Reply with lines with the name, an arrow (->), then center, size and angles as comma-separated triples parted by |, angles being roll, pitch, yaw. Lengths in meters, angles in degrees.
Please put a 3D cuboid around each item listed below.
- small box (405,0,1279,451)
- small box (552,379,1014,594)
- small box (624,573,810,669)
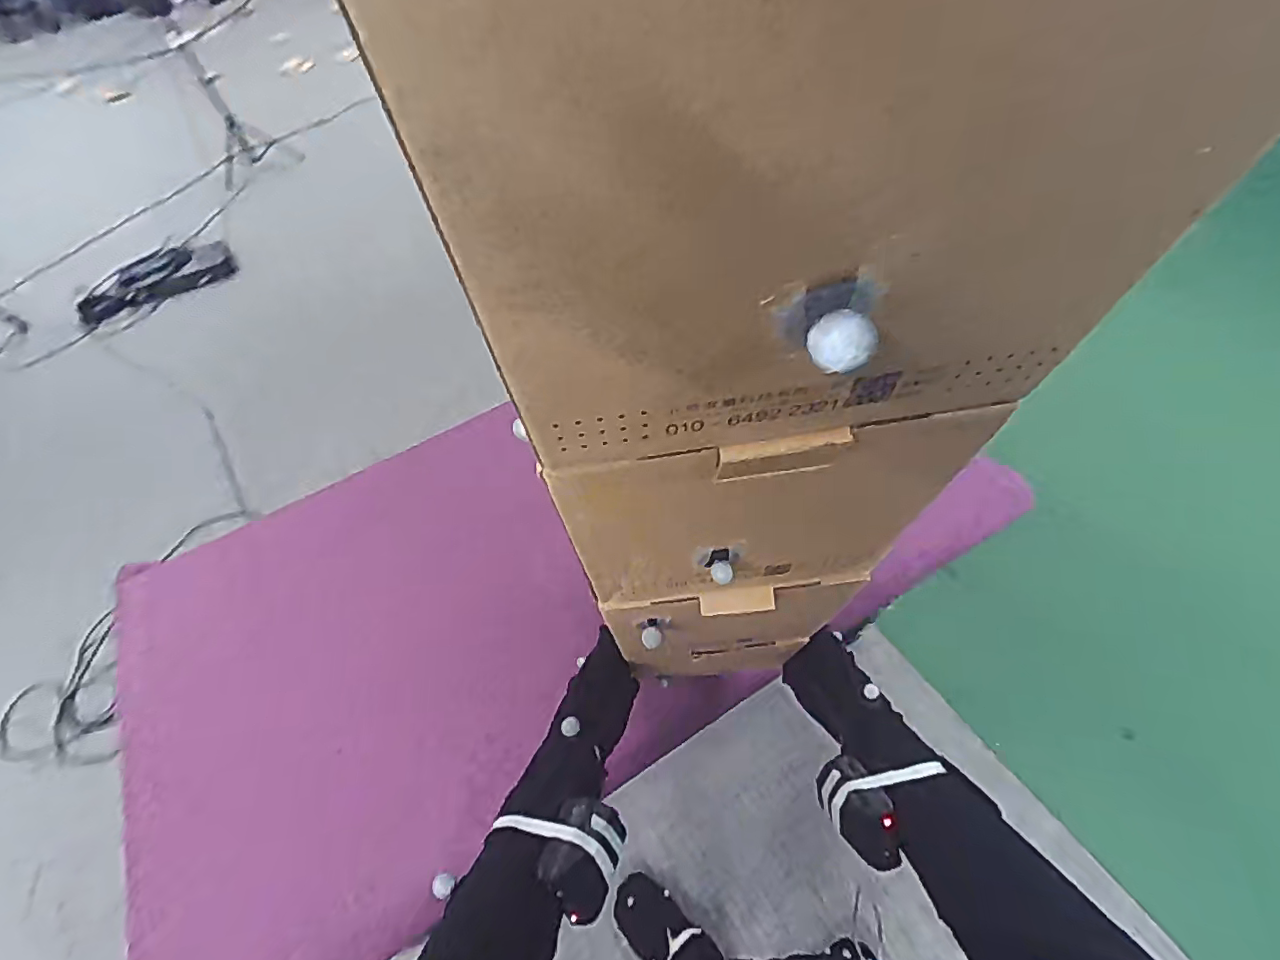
small box -> 0.034, -0.131, 0.153 | 0.168, 0.176, 0.179 | -9, 62, 0
small box -> 0.045, -0.053, 0.298 | 0.168, 0.176, 0.179 | -8, 62, 0
small box -> 0.071, 0.103, 0.584 | 0.168, 0.176, 0.179 | -5, 62, 1
